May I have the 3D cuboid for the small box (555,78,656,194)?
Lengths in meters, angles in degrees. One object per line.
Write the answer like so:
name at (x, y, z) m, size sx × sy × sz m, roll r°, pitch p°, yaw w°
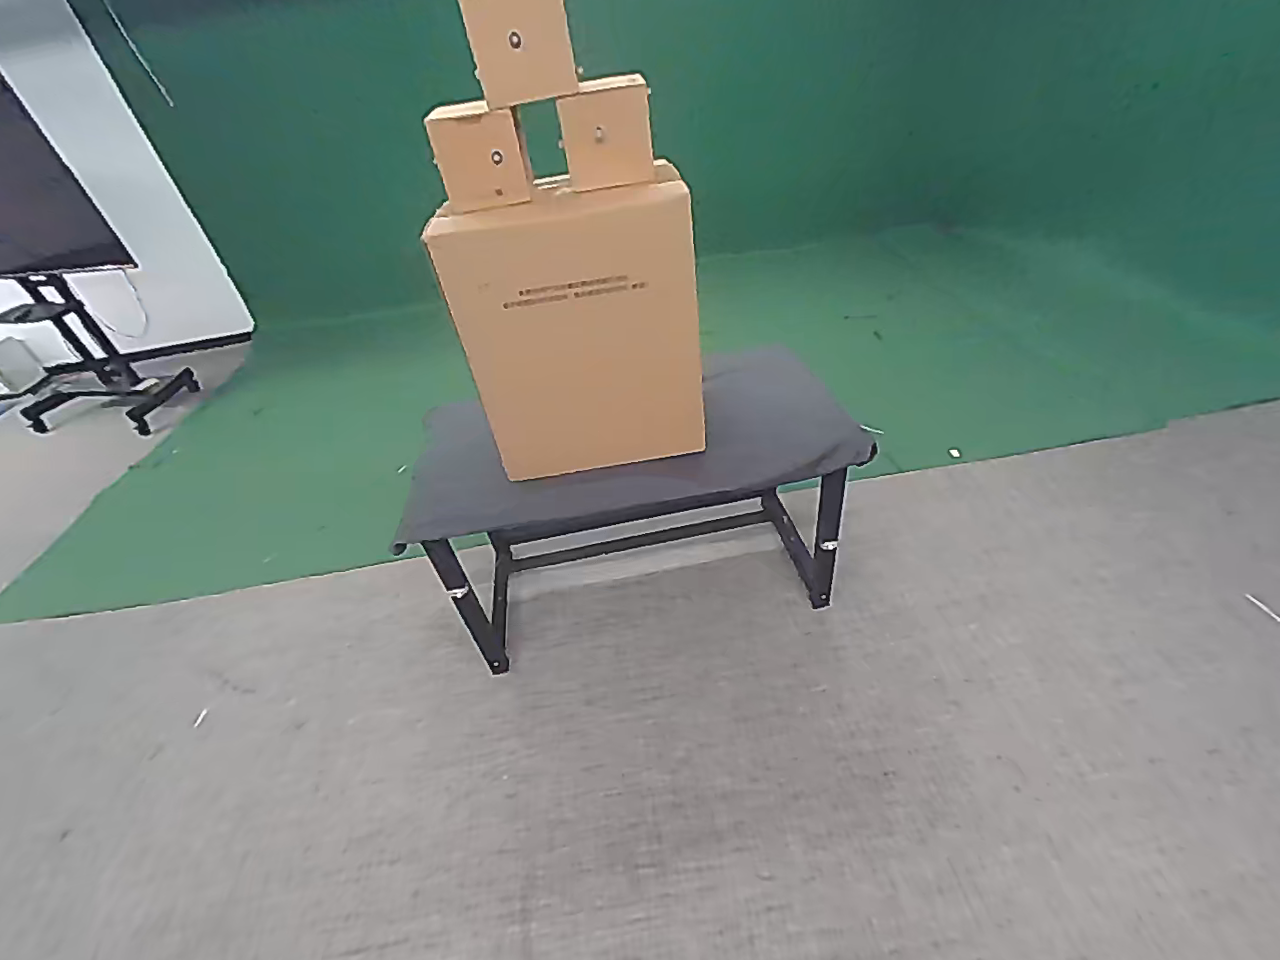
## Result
small box at (-0.069, -0.716, 1.130) m, size 0.179 × 0.176 × 0.168 m, roll -9°, pitch 42°, yaw 2°

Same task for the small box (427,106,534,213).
small box at (-0.322, -0.671, 1.132) m, size 0.168 × 0.176 × 0.179 m, roll -9°, pitch 40°, yaw -1°

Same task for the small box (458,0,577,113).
small box at (-0.219, -0.815, 1.022) m, size 0.179 × 0.176 × 0.168 m, roll -11°, pitch 41°, yaw 1°
